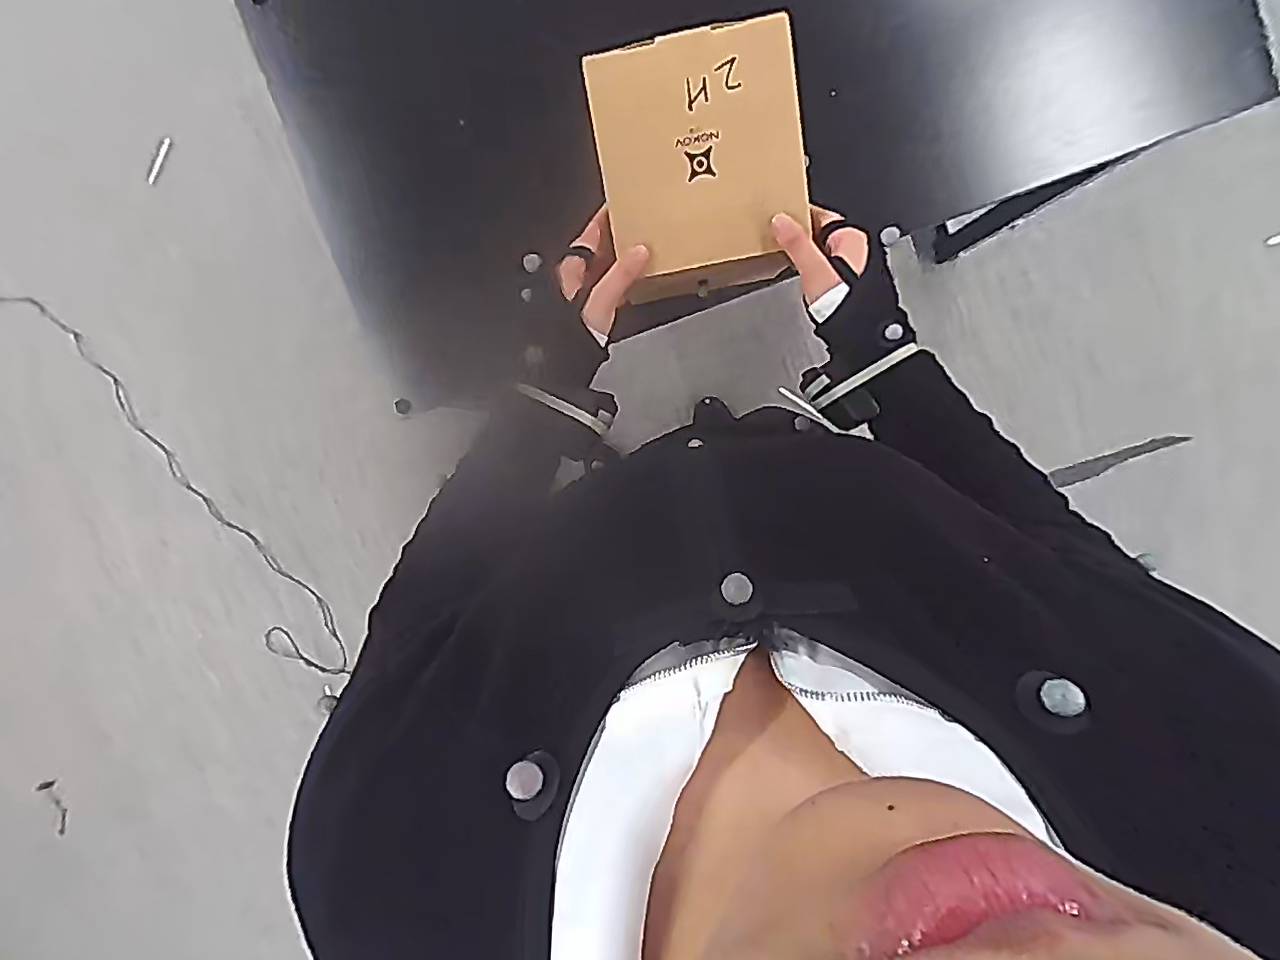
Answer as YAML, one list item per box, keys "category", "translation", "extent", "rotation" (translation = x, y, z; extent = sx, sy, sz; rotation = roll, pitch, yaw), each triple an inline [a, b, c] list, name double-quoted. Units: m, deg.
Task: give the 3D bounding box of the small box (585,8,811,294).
- category: "small box"
  translation: [0.054, -0.284, 0.517]
  extent: [0.168, 0.176, 0.179]
  rotation: [-9, 100, 5]
